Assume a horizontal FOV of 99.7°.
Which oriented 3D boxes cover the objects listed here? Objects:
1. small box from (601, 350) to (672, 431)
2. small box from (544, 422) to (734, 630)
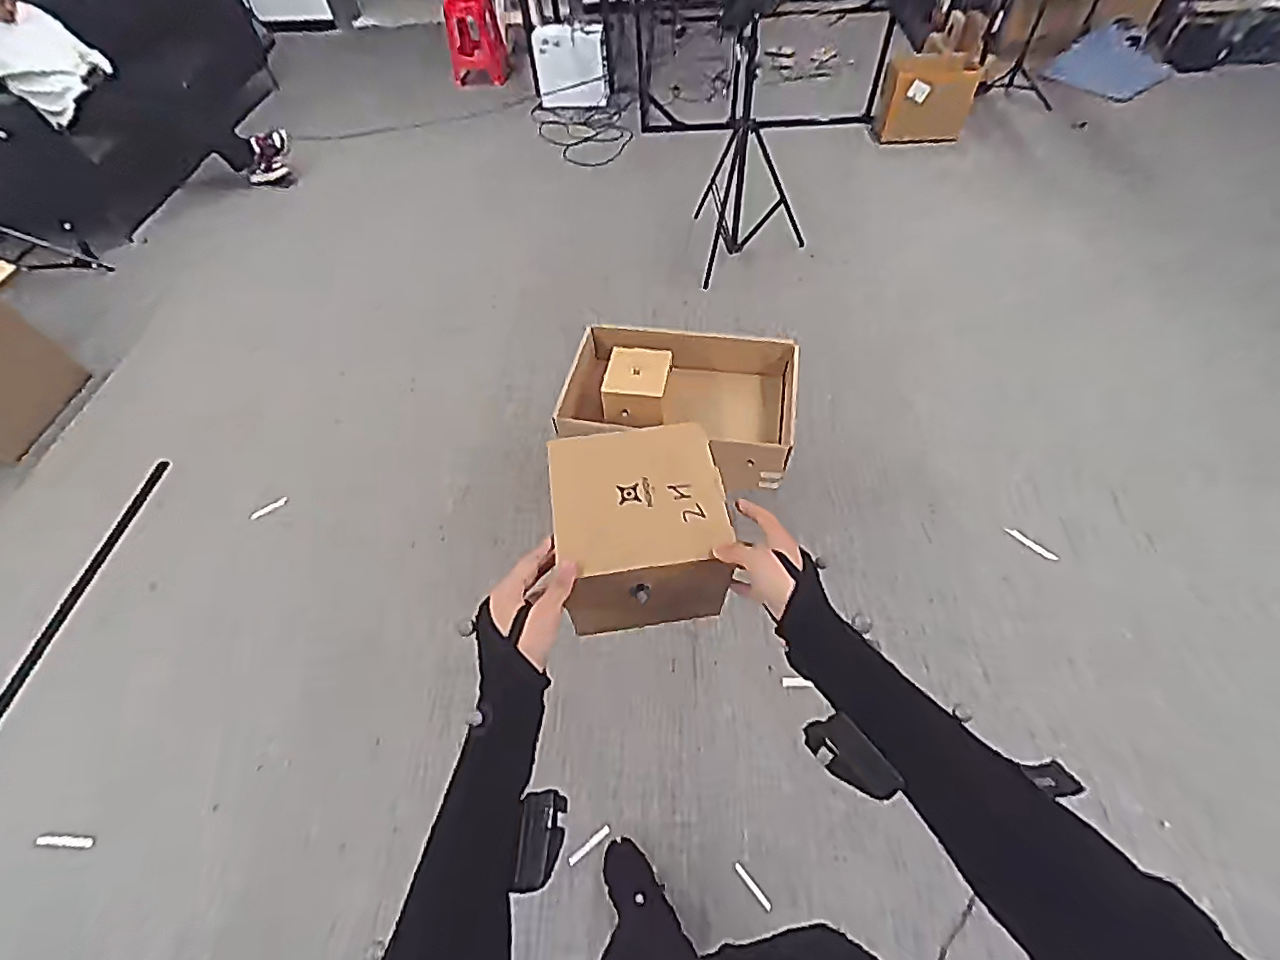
[{"bbox_3d":[-0.002,-0.236,1.502,0.168,0.176,0.179,6,54,8],"label":"small box"},{"bbox_3d":[-0.006,0.058,0.608,0.179,0.176,0.168,-6,57,-4],"label":"small box"}]
